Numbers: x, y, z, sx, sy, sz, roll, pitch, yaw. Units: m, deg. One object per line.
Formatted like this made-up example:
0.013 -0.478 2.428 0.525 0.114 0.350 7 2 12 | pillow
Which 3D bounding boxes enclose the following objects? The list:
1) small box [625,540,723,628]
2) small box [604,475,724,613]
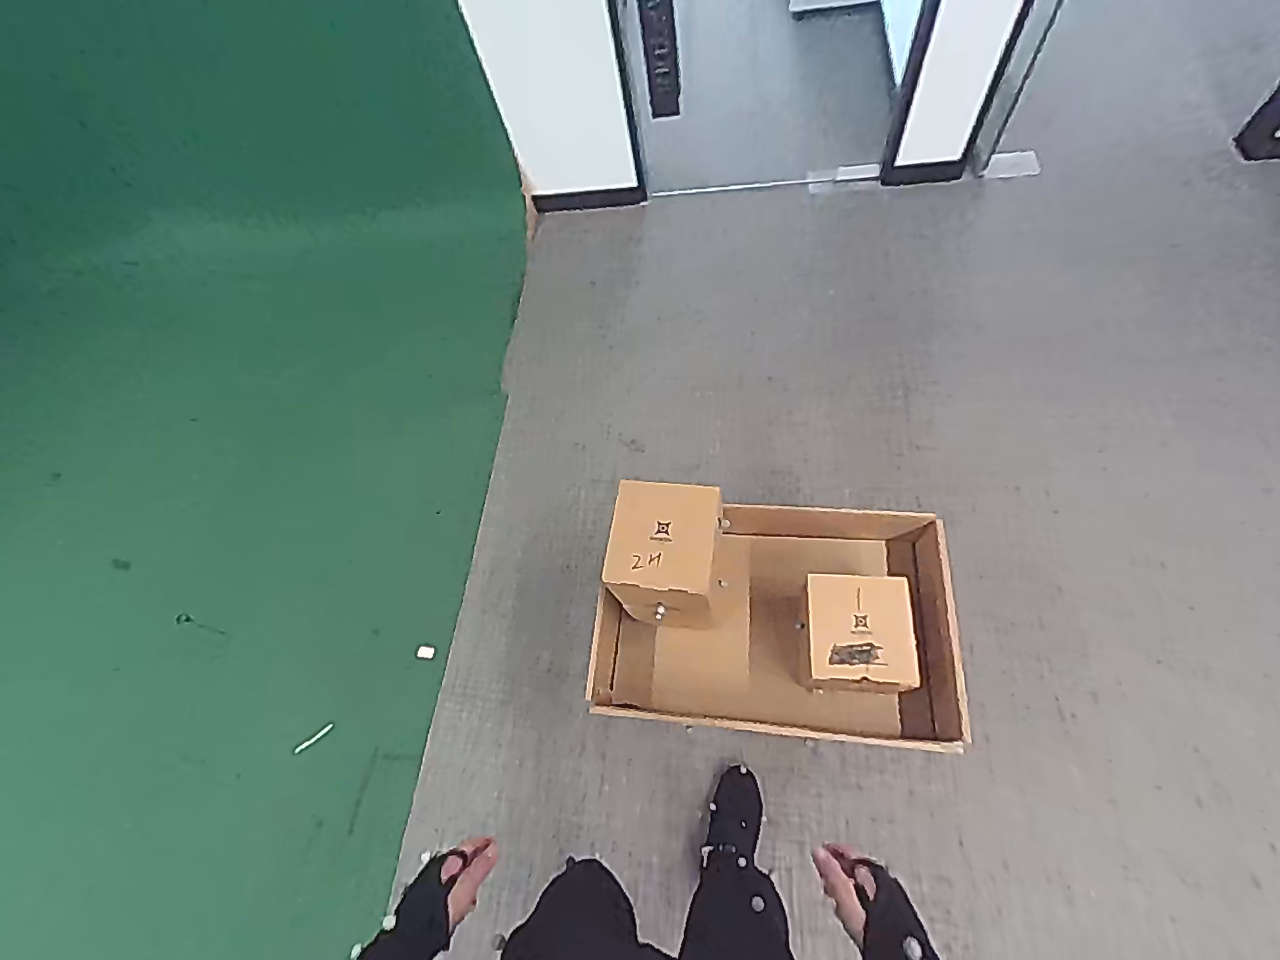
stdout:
0.074 0.180 1.060 0.168 0.176 0.179 4 66 11 | small box
0.050 0.111 0.913 0.168 0.176 0.179 5 66 13 | small box
